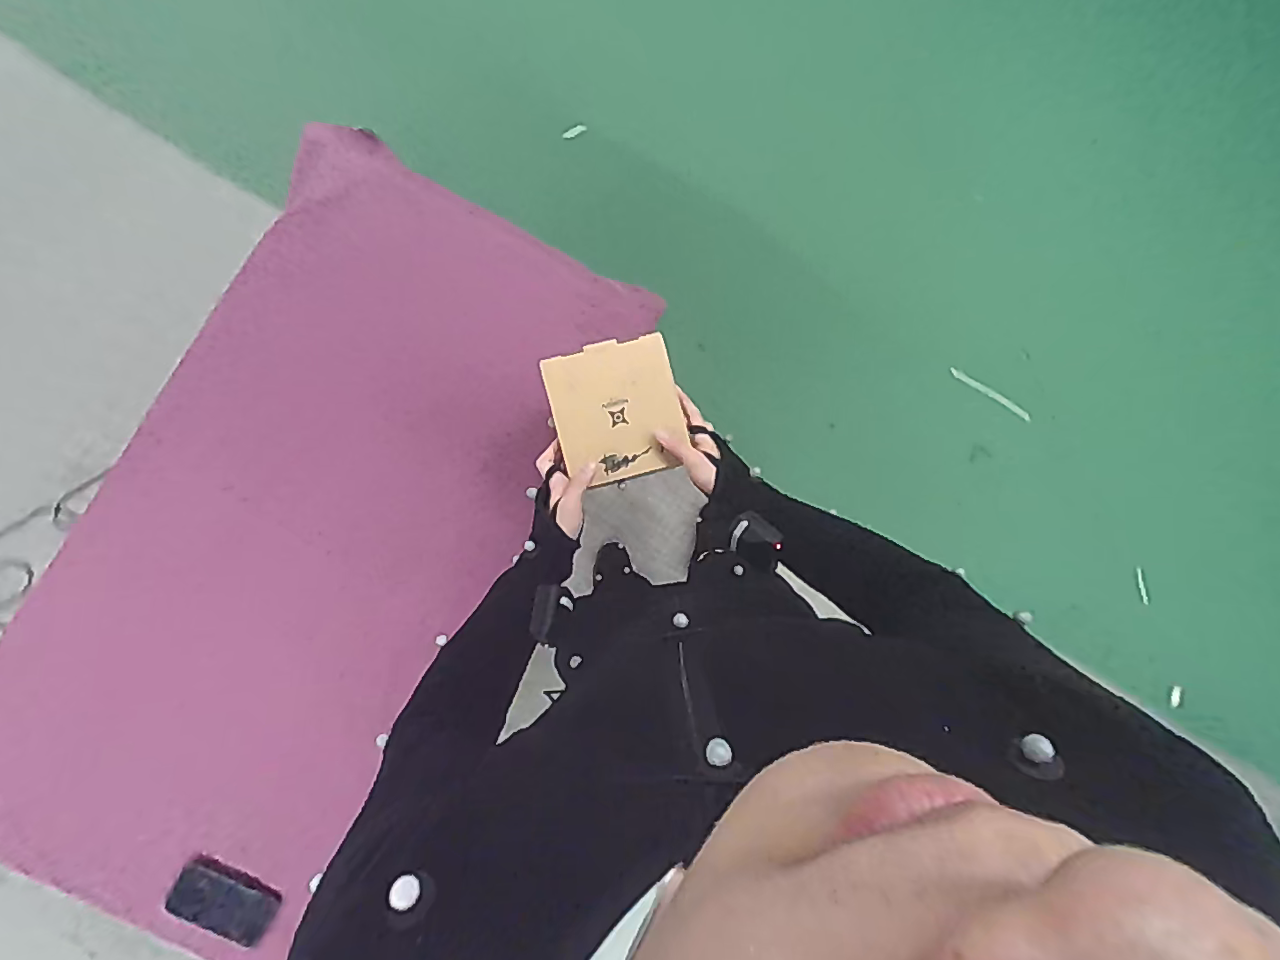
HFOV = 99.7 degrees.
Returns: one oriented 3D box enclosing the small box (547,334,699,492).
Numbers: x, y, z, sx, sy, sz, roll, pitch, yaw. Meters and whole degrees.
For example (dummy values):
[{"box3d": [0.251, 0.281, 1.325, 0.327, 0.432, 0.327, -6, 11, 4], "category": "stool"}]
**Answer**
[{"box3d": [-0.028, -0.084, 0.765, 0.168, 0.176, 0.179, -14, 89, -4], "category": "small box"}]
